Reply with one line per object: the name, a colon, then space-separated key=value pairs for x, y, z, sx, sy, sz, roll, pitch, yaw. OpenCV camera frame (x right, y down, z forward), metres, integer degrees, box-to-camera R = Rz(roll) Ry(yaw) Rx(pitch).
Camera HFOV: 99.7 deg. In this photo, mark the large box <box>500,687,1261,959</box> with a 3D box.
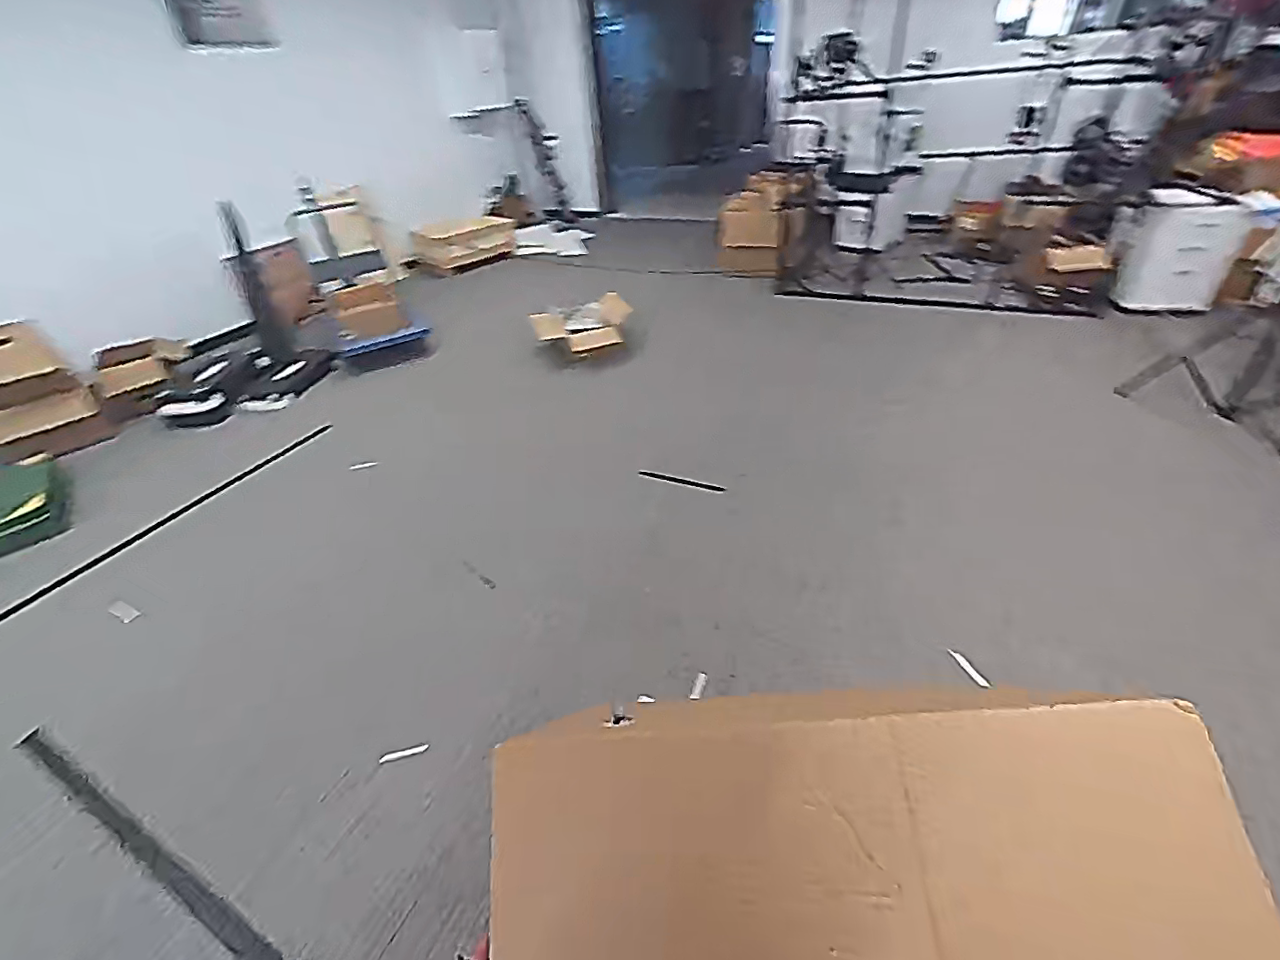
large box: x=0.136 y=0.345 z=0.420 sx=0.408 sy=0.320 sz=0.320 roll=-7 pitch=71 yaw=5
